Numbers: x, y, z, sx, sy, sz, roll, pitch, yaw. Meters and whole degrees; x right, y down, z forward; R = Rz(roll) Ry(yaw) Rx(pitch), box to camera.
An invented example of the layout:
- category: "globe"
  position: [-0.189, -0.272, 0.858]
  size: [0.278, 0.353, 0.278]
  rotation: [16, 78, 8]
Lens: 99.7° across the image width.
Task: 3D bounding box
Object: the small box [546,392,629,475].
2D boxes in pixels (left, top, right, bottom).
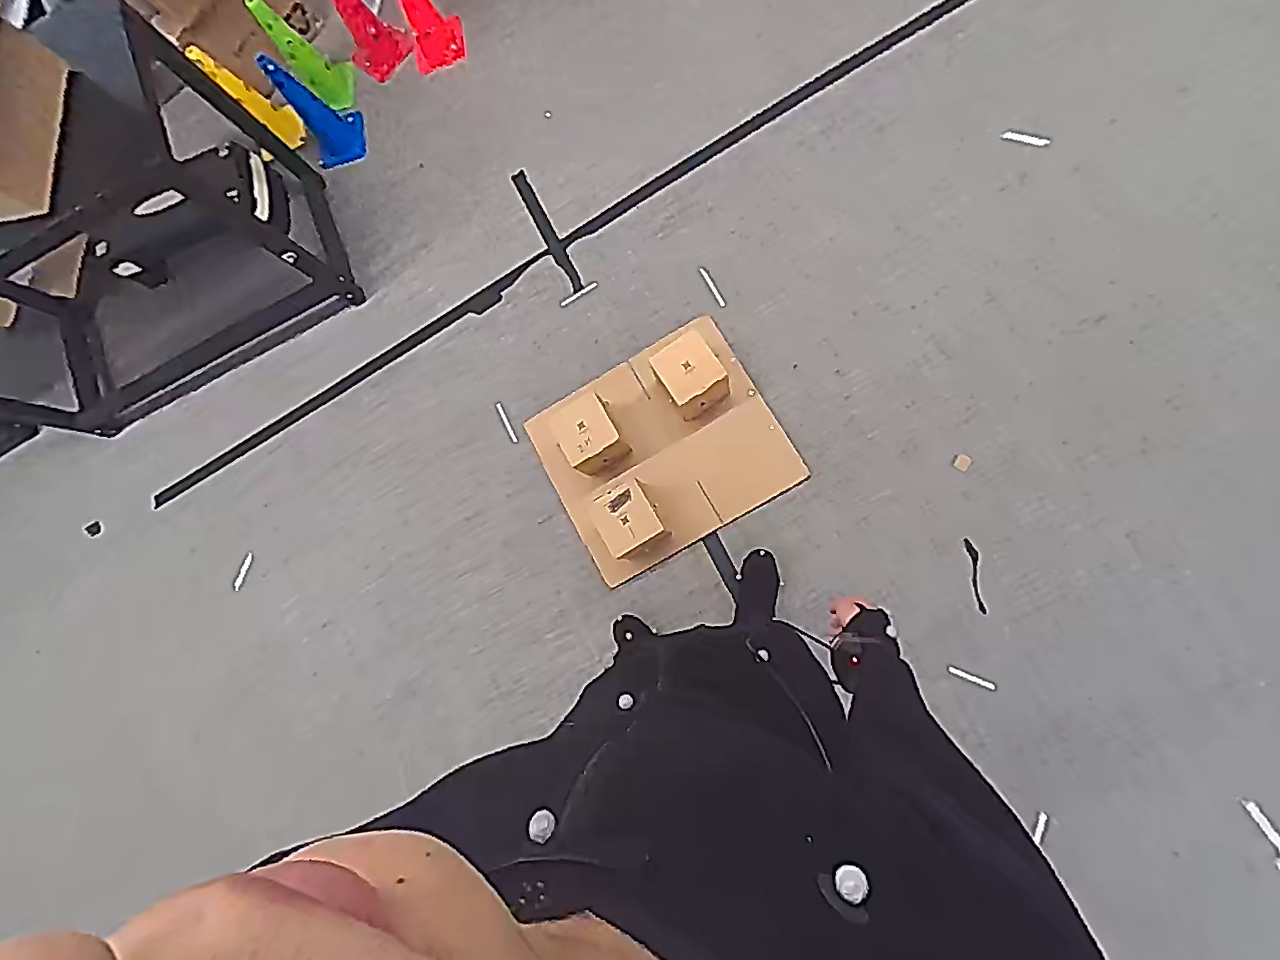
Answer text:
- category: "small box"
  position: [-0.153, -0.134, 1.632]
  size: [0.168, 0.176, 0.179]
  rotation: [-31, 78, 6]

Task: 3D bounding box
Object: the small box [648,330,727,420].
- category: "small box"
  position: [0.145, -0.304, 1.608]
  size: [0.168, 0.176, 0.179]
  rotation: [-34, 78, 4]

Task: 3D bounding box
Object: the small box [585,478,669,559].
- category: "small box"
  position: [-0.033, 0.119, 1.575]
  size: [0.168, 0.176, 0.179]
  rotation: [-32, 79, 5]
